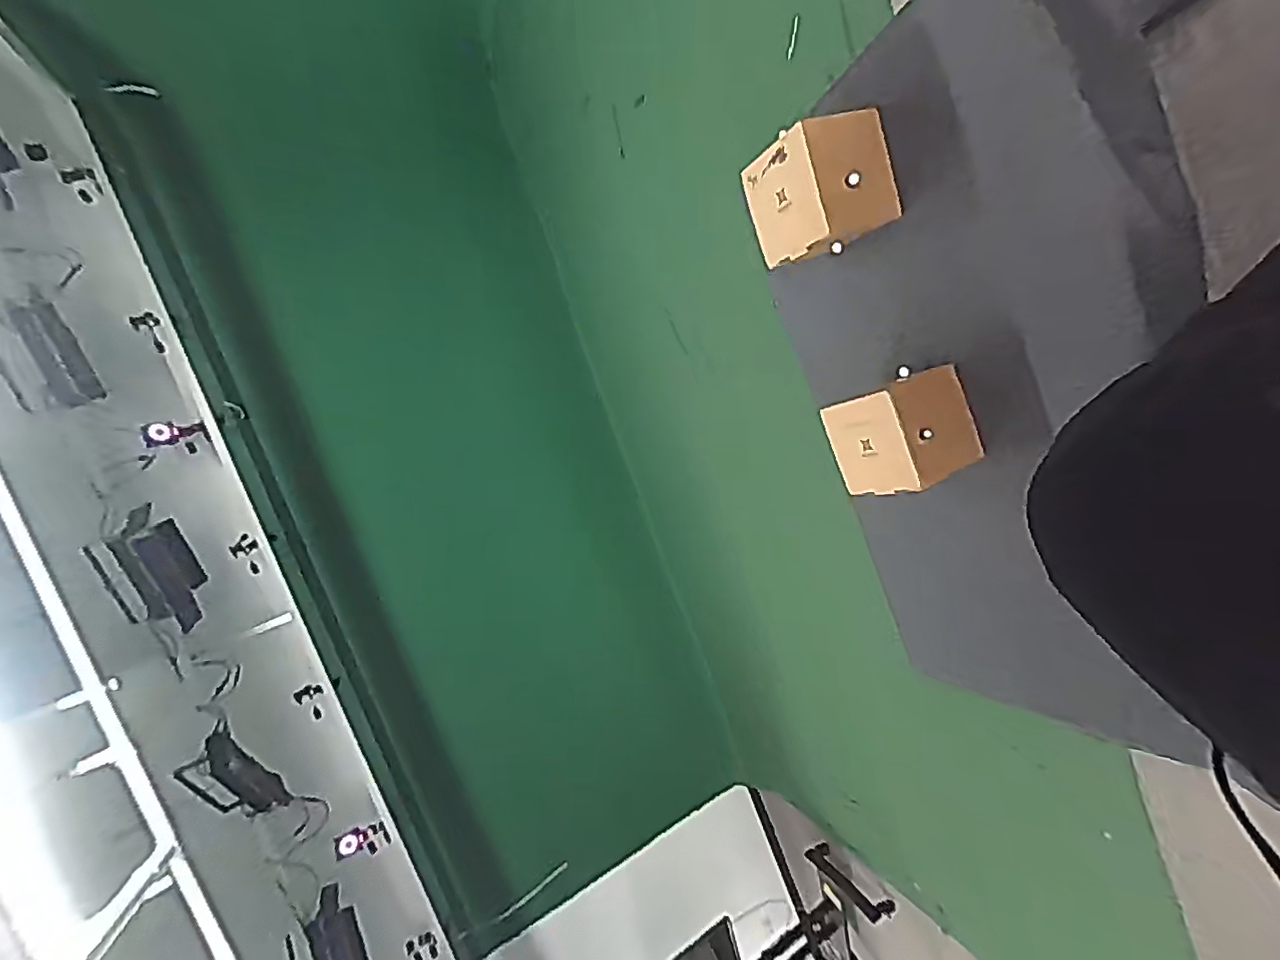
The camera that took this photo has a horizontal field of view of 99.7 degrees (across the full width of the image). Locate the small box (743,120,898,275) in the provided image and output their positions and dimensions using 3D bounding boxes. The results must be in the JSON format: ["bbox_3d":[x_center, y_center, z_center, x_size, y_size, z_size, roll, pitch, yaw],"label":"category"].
[{"bbox_3d":[0.313,-0.486,0.938,0.168,0.176,0.179,2,114,66],"label":"small box"}]

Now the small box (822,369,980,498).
[{"bbox_3d":[0.471,-0.080,0.976,0.168,0.176,0.179,-14,97,67],"label":"small box"}]
